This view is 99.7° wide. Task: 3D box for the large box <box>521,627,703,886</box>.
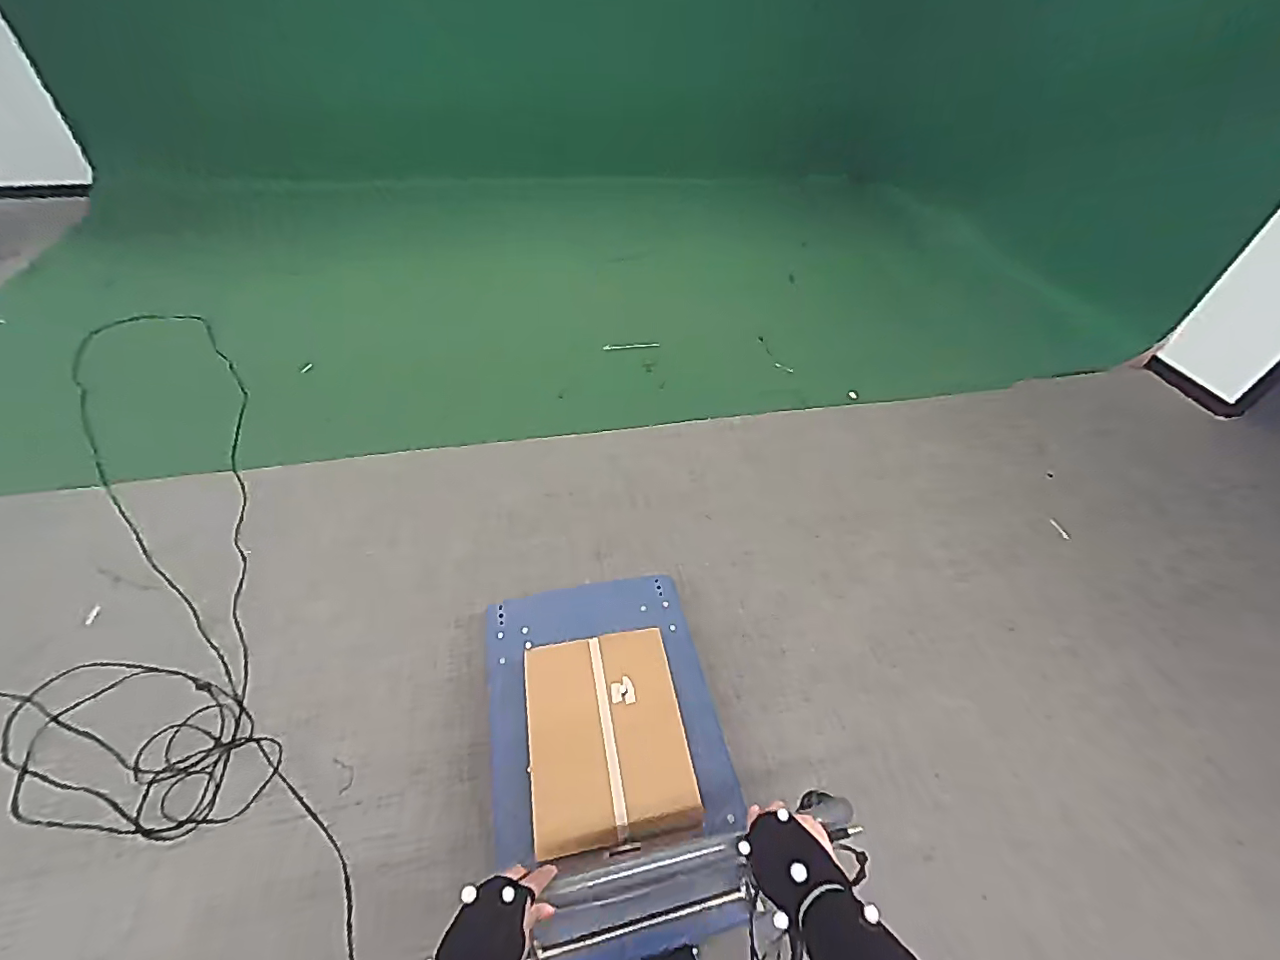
[{"bbox_3d":[-0.079,0.600,1.196,0.320,0.320,0.408,-6,47,-10],"label":"large box"}]
